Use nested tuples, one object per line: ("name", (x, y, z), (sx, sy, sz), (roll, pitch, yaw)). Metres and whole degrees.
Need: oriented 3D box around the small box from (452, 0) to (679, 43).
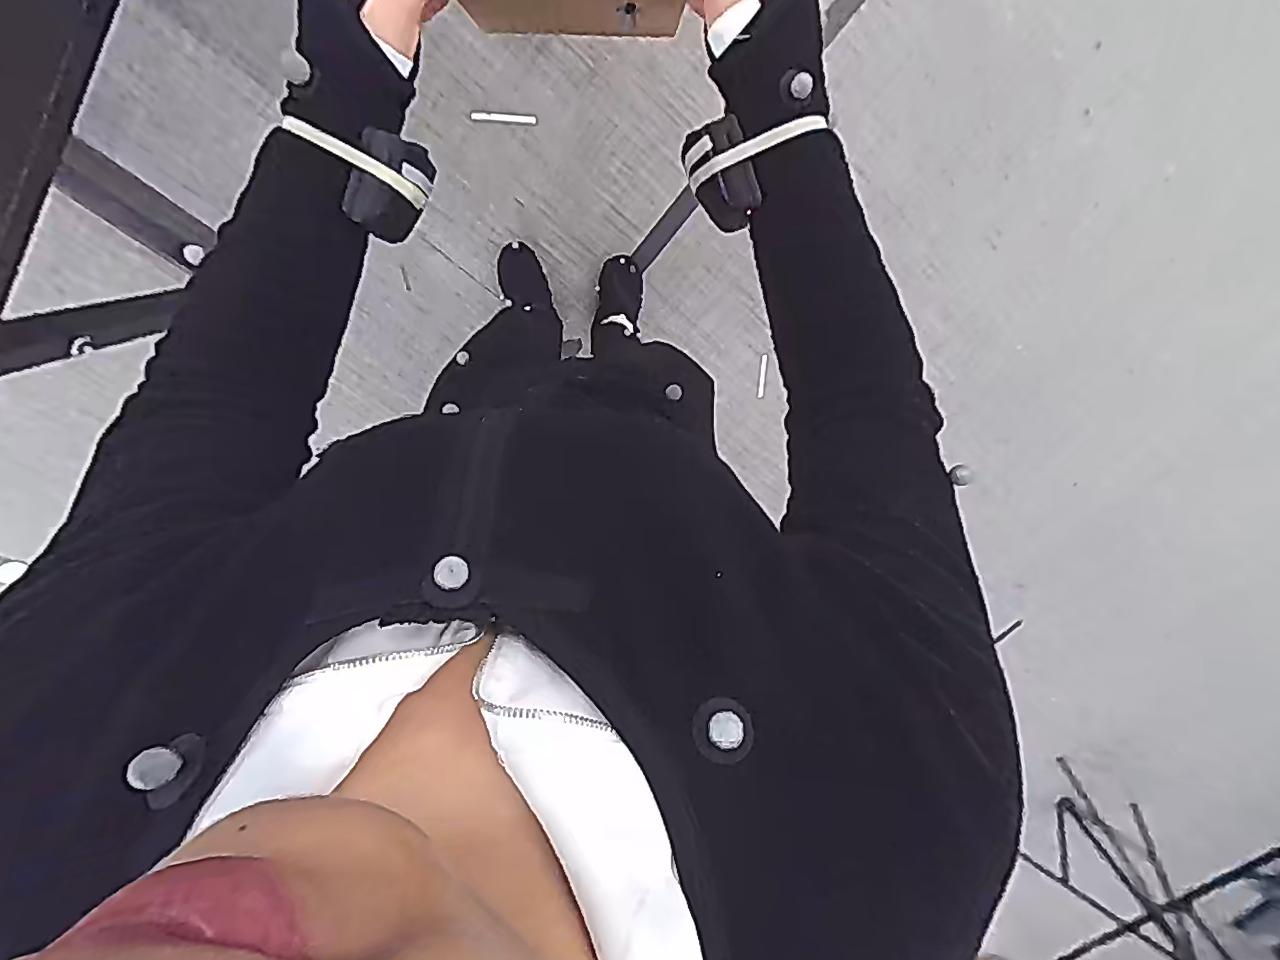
("small box", (-0.054, -0.433, 0.379), (0.179, 0.176, 0.168), (-1, 116, -1))
